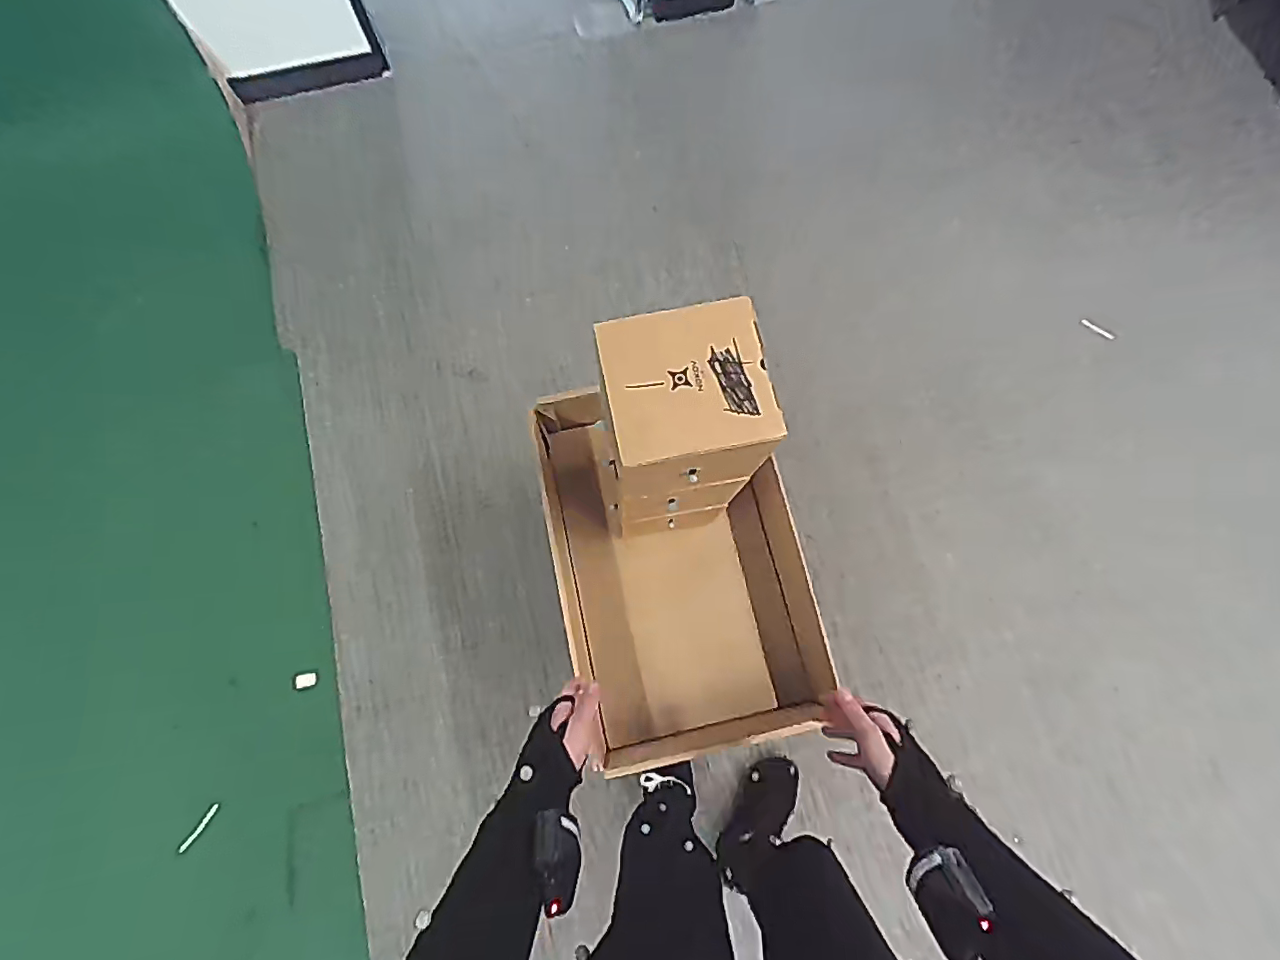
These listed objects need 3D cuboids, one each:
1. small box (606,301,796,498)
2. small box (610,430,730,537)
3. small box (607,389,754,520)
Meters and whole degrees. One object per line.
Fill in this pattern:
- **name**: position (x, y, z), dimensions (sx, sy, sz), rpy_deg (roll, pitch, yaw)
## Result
- **small box**: position (0.059, -0.085, 0.641), dimensions (0.179, 0.176, 0.168), rpy_deg (-10, 77, -4)
- **small box**: position (0.046, 0.000, 0.958), dimensions (0.179, 0.176, 0.168), rpy_deg (-8, 76, -5)
- **small box**: position (0.052, -0.044, 0.800), dimensions (0.179, 0.176, 0.168), rpy_deg (-10, 77, -4)
